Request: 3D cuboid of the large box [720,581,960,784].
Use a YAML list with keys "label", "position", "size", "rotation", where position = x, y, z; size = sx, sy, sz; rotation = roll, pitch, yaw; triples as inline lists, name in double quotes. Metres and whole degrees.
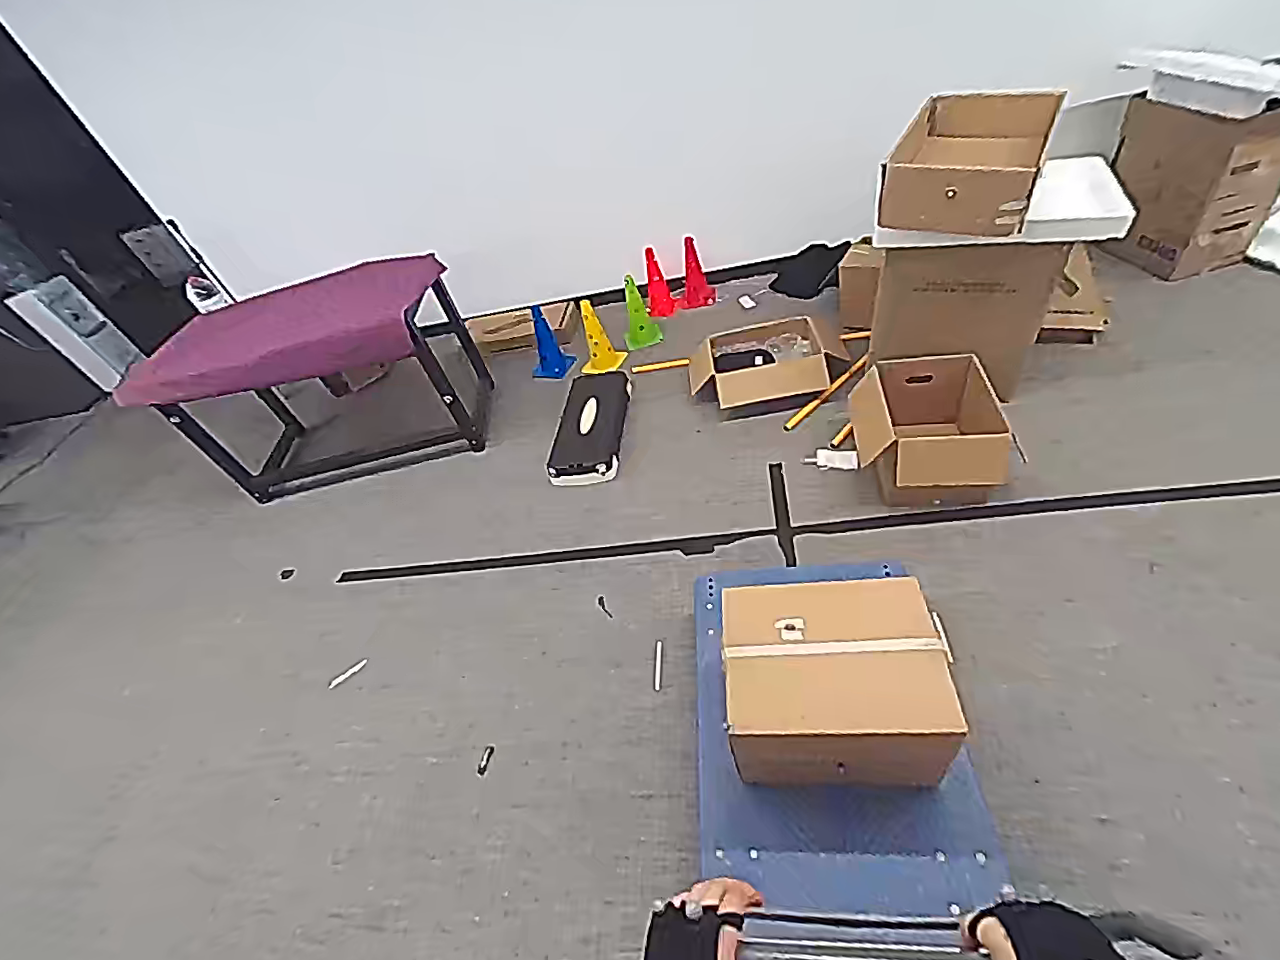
- label: "large box"
  position: [0.400, 0.446, 1.168]
  size: [0.408, 0.320, 0.320]
  rotation: [-7, 44, 12]
